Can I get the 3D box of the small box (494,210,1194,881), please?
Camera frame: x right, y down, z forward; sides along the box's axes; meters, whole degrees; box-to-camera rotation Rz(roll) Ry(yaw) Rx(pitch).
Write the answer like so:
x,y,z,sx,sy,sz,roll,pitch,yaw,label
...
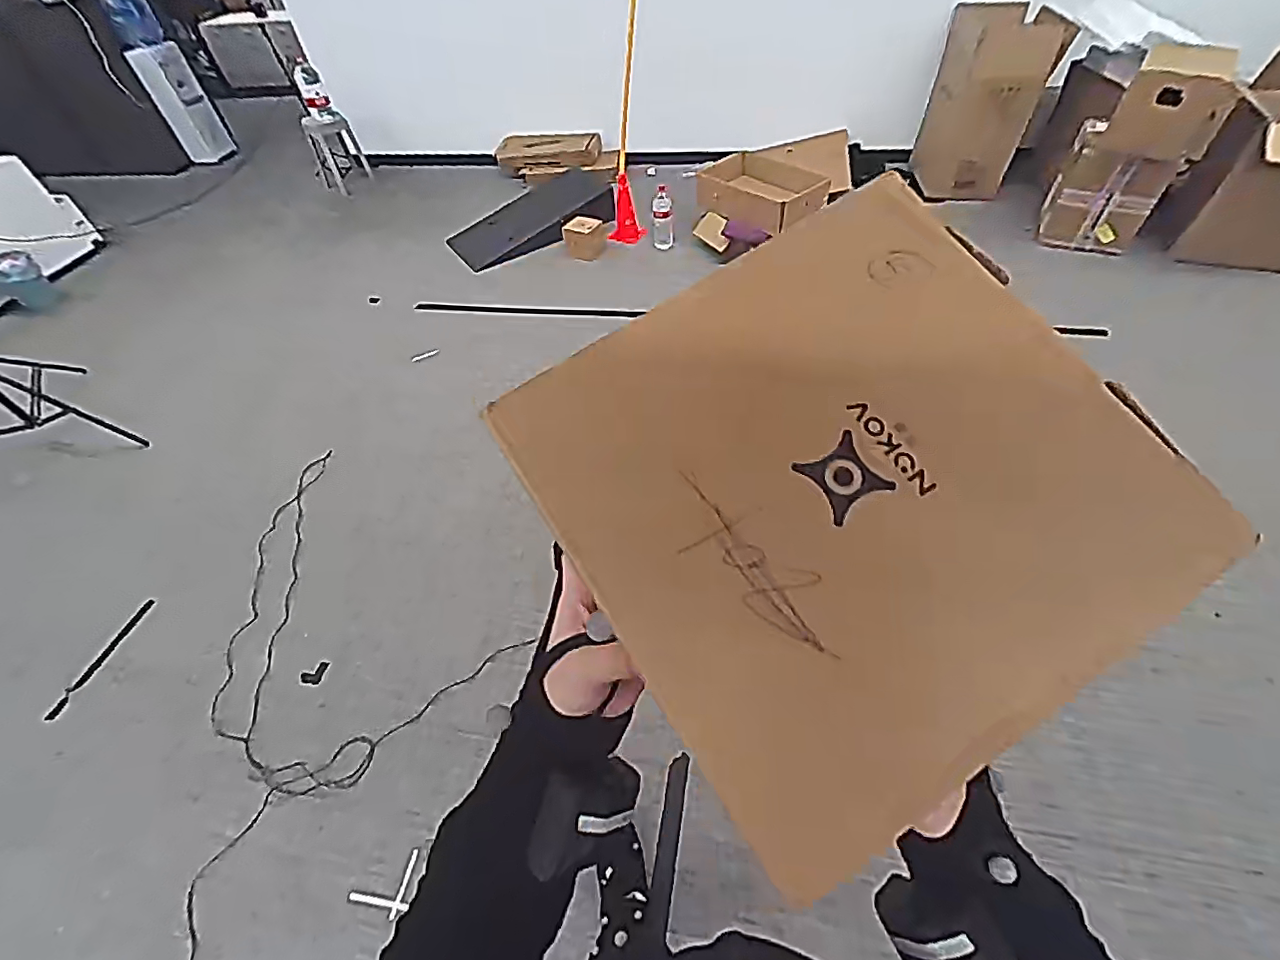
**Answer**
x,y,z,sx,sy,sz,roll,pitch,yaw,label
0.064,0.025,0.257,0.179,0.176,0.168,-33,74,-7,small box
